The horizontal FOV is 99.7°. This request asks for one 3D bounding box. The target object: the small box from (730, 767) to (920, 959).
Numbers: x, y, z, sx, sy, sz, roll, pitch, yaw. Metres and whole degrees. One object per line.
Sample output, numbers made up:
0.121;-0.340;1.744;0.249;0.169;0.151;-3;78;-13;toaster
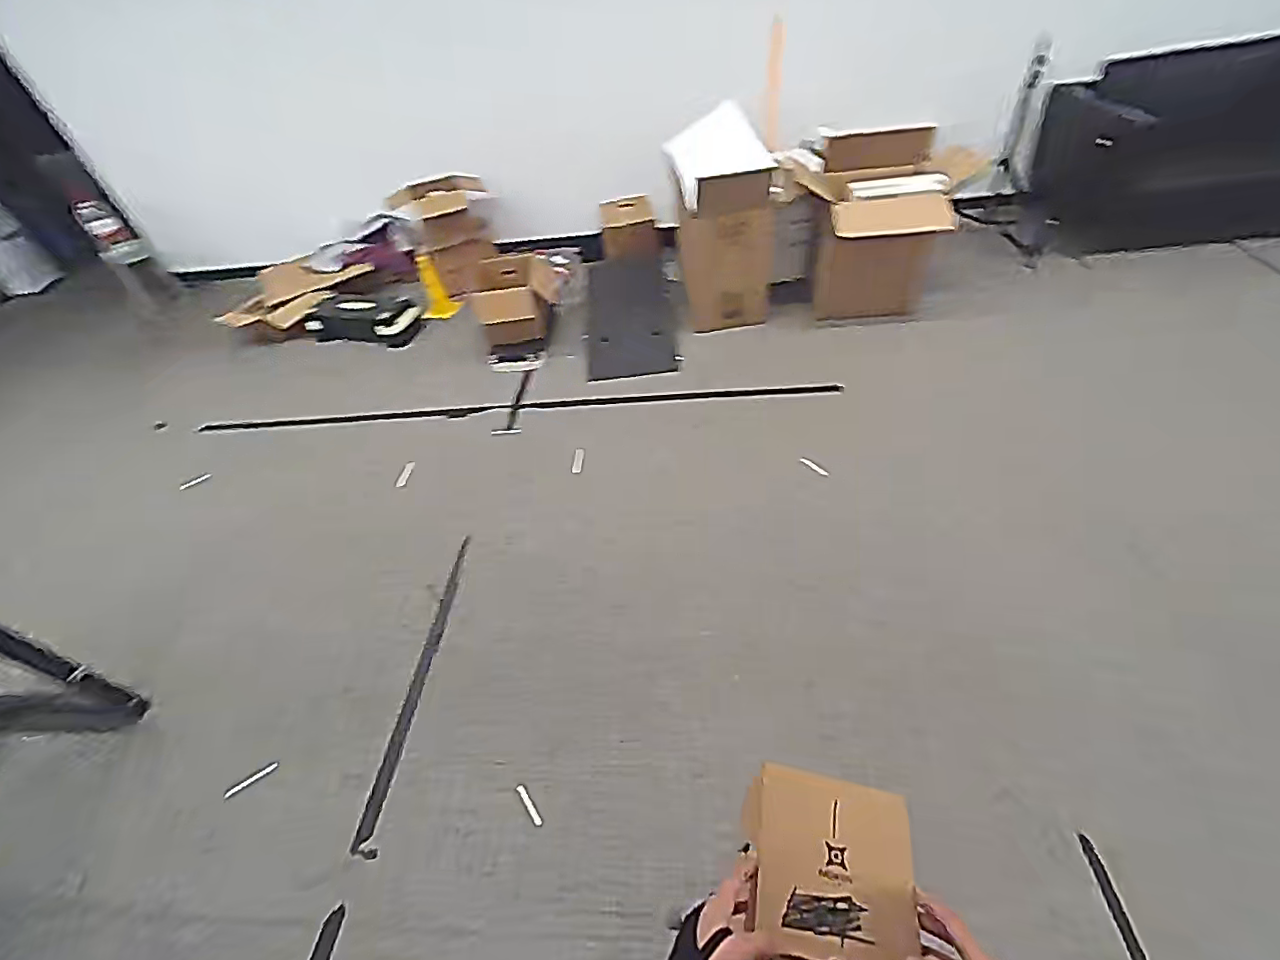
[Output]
0.201;0.466;0.628;0.168;0.176;0.179;9;47;7;small box
